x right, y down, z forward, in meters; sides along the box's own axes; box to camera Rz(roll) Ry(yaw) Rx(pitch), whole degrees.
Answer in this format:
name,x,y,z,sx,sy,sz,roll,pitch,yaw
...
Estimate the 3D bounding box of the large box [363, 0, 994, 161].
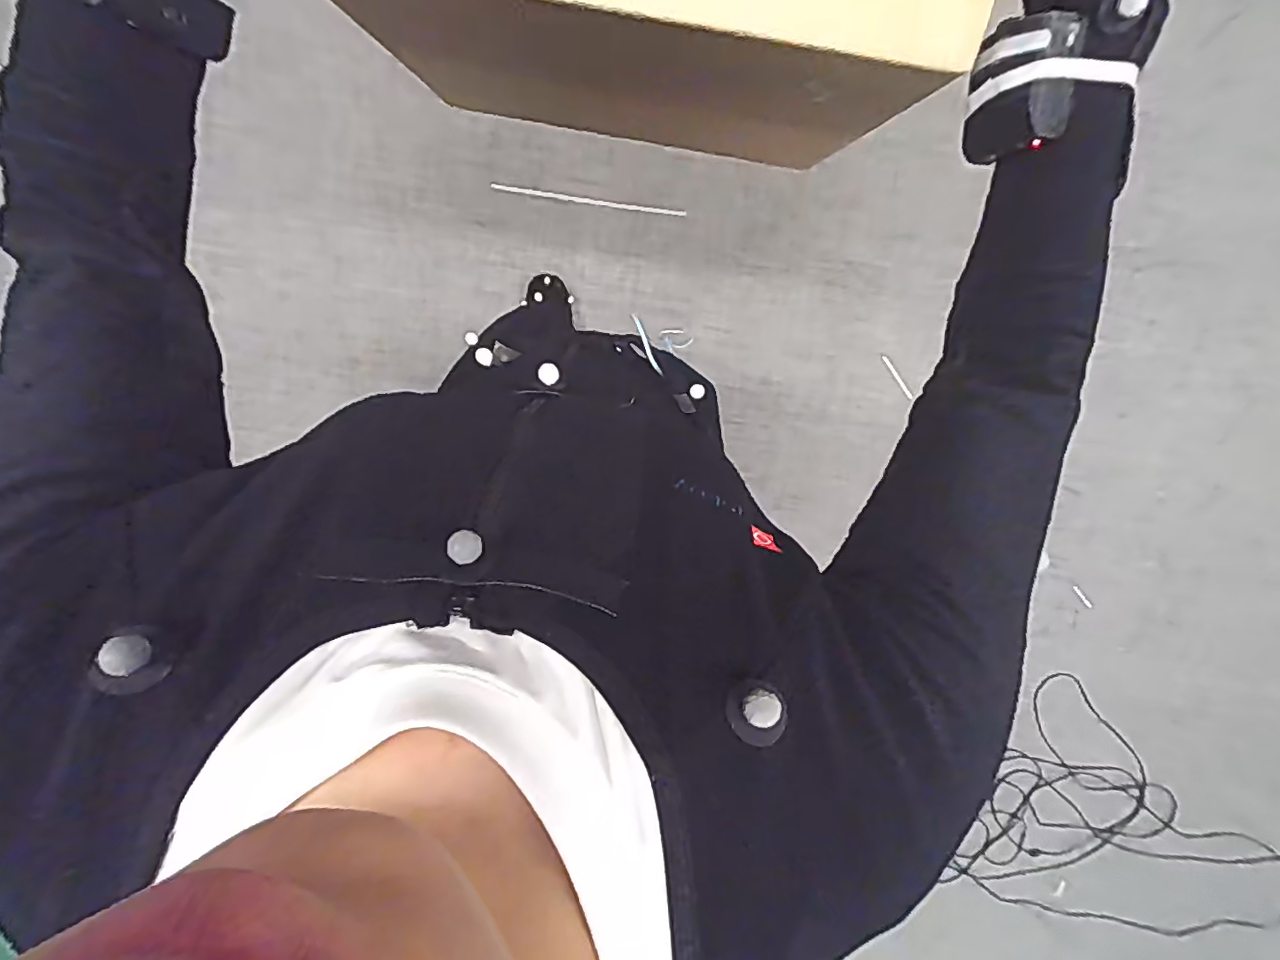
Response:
name,x,y,z,sx,sy,sz,roll,pitch,yaw
large box,0.021,-0.467,0.401,0.408,0.320,0.320,7,111,-5
